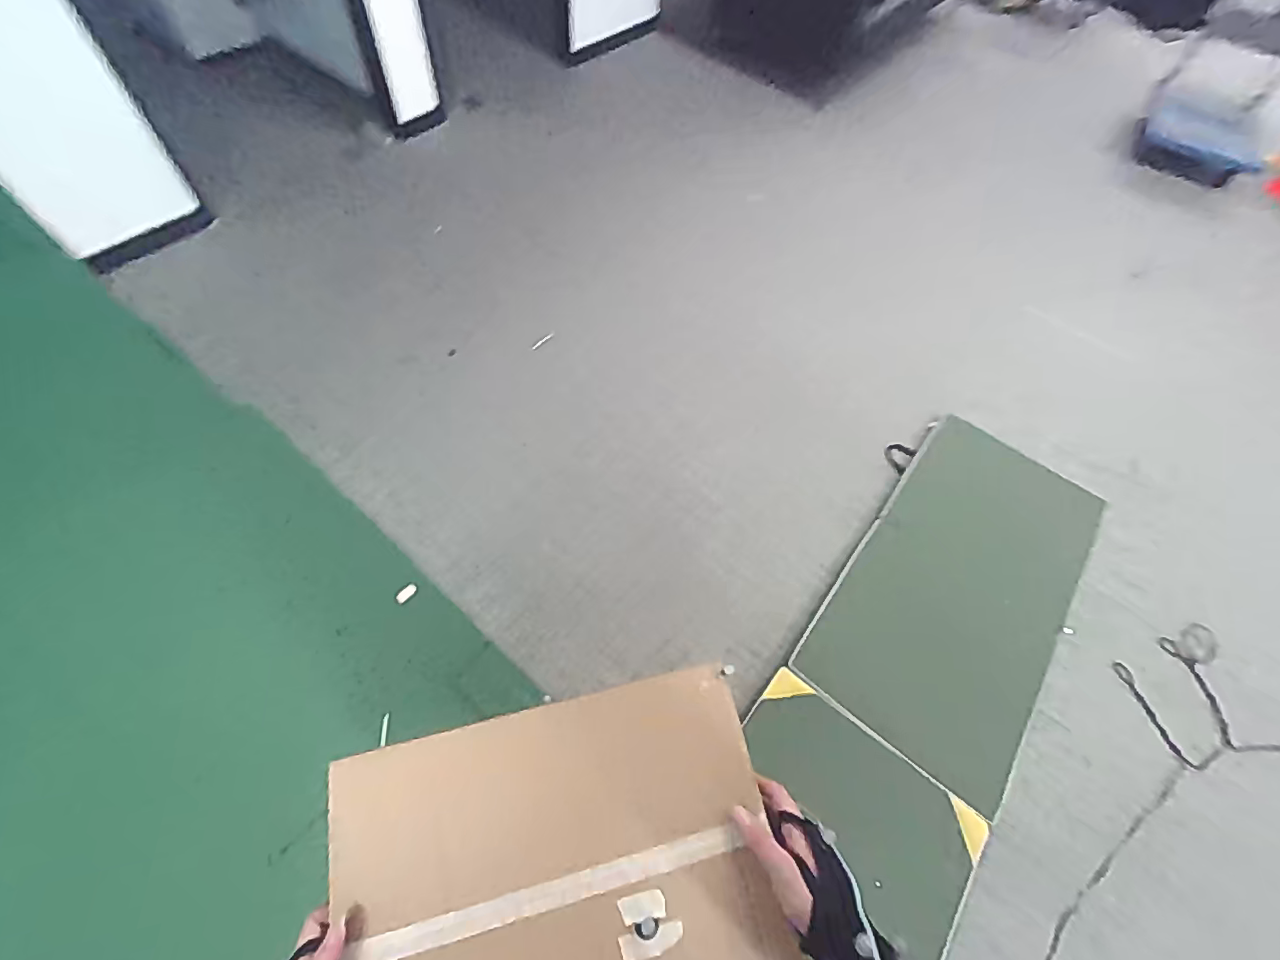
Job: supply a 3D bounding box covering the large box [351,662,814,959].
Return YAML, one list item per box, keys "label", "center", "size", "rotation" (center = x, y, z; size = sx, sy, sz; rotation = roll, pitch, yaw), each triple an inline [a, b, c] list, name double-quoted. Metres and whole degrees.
- label: "large box"
  center: [-0.072, 0.436, 0.643]
  size: [0.408, 0.320, 0.320]
  rotation: [-10, 68, -9]
